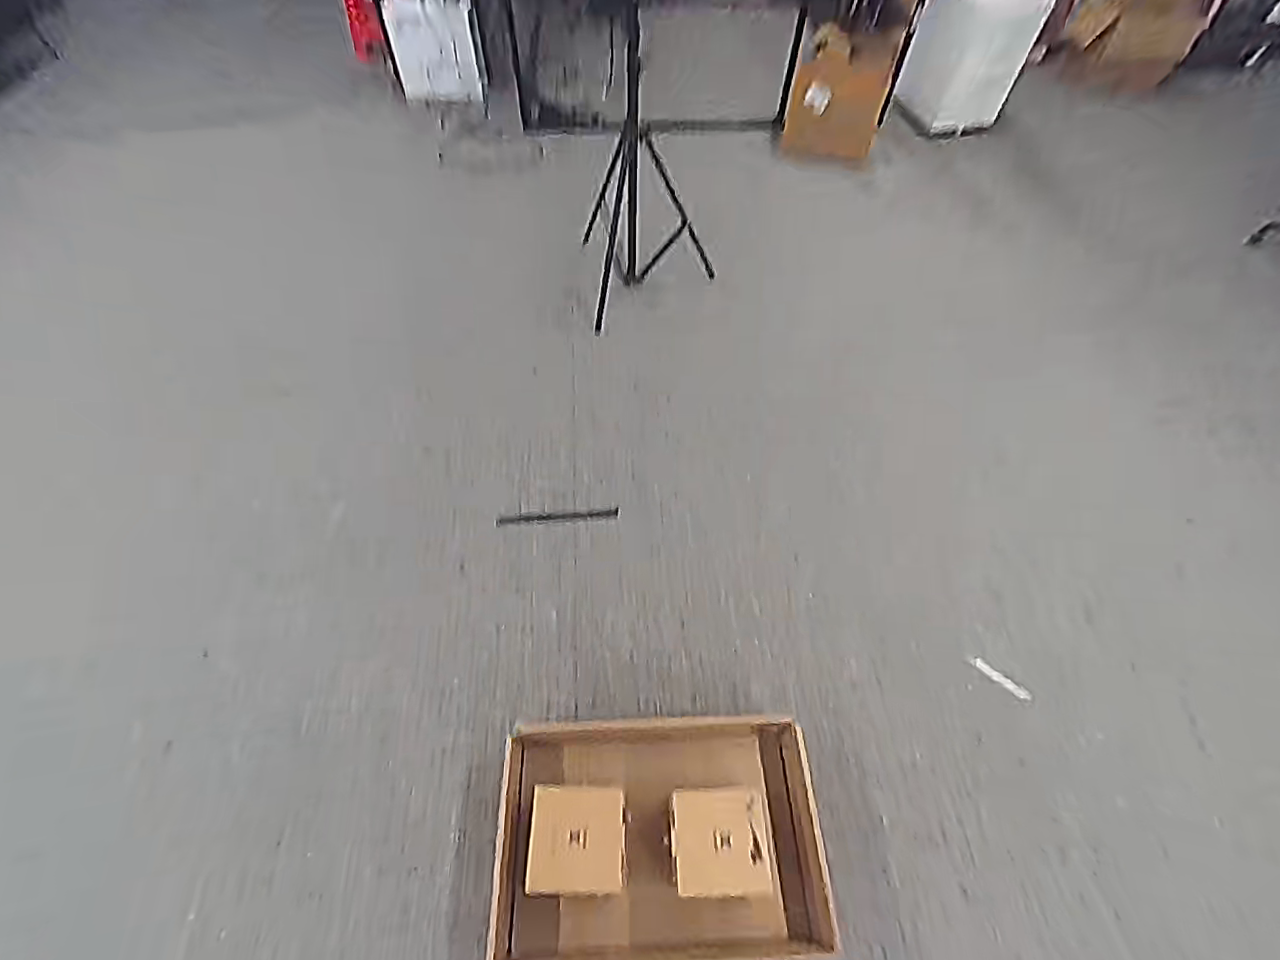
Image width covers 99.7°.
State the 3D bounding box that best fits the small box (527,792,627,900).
[{"bbox_3d":[-0.116,0.719,1.067,0.179,0.176,0.168,1,55,-1],"label":"small box"}]

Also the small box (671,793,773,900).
[{"bbox_3d":[0.152,0.724,1.071,0.179,0.176,0.168,-2,56,0],"label":"small box"}]
